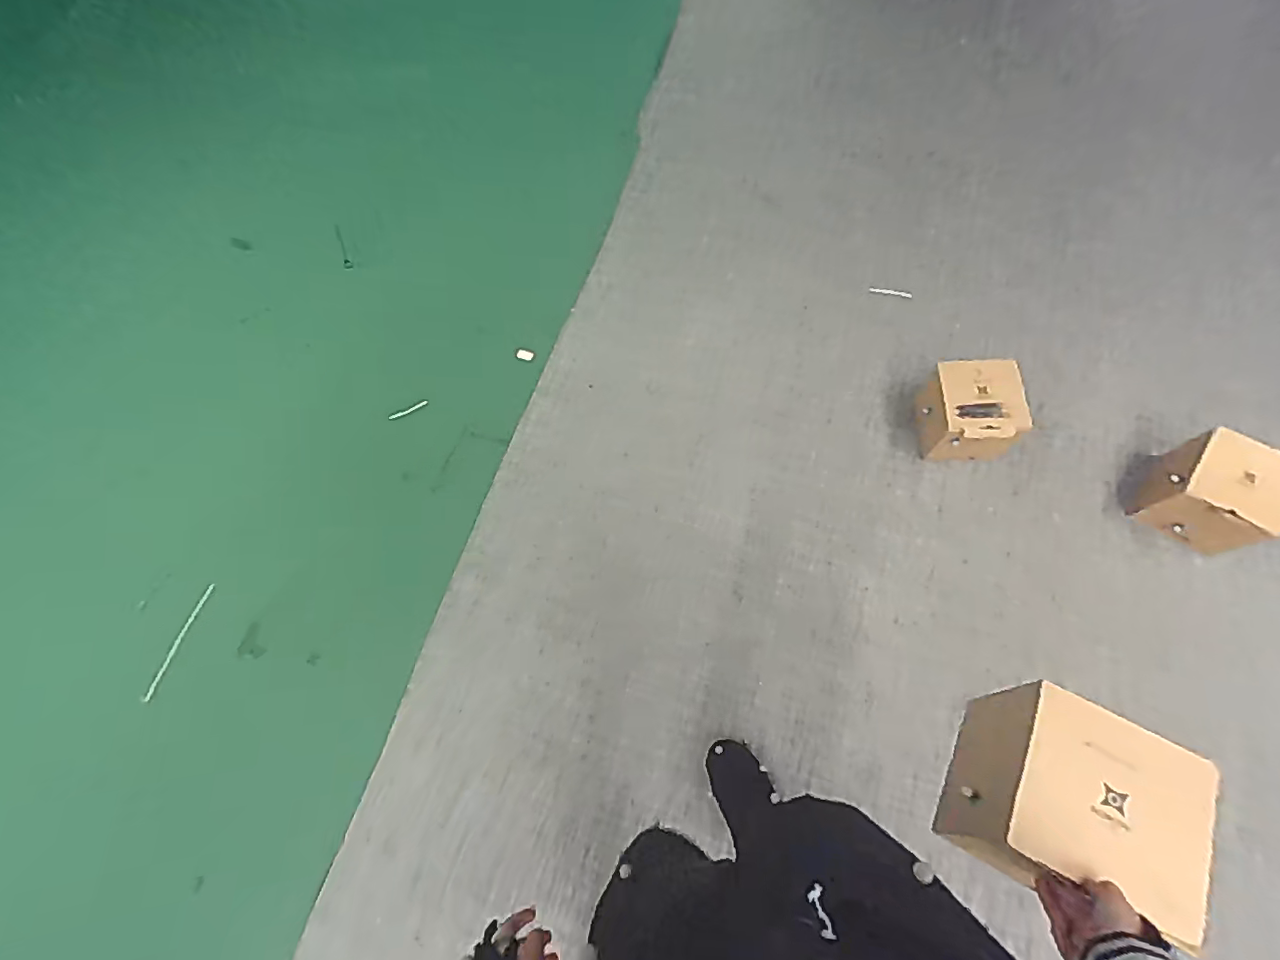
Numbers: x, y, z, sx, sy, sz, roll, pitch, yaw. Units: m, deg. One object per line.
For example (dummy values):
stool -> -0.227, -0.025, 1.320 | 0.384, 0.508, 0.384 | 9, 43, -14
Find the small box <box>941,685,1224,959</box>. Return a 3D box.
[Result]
small box -> 0.458, 0.356, 0.584 | 0.168, 0.176, 0.179 | 27, 64, 16

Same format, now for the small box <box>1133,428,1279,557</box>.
small box -> 1.180, 0.032, 1.110 | 0.168, 0.176, 0.179 | 33, 77, 18
